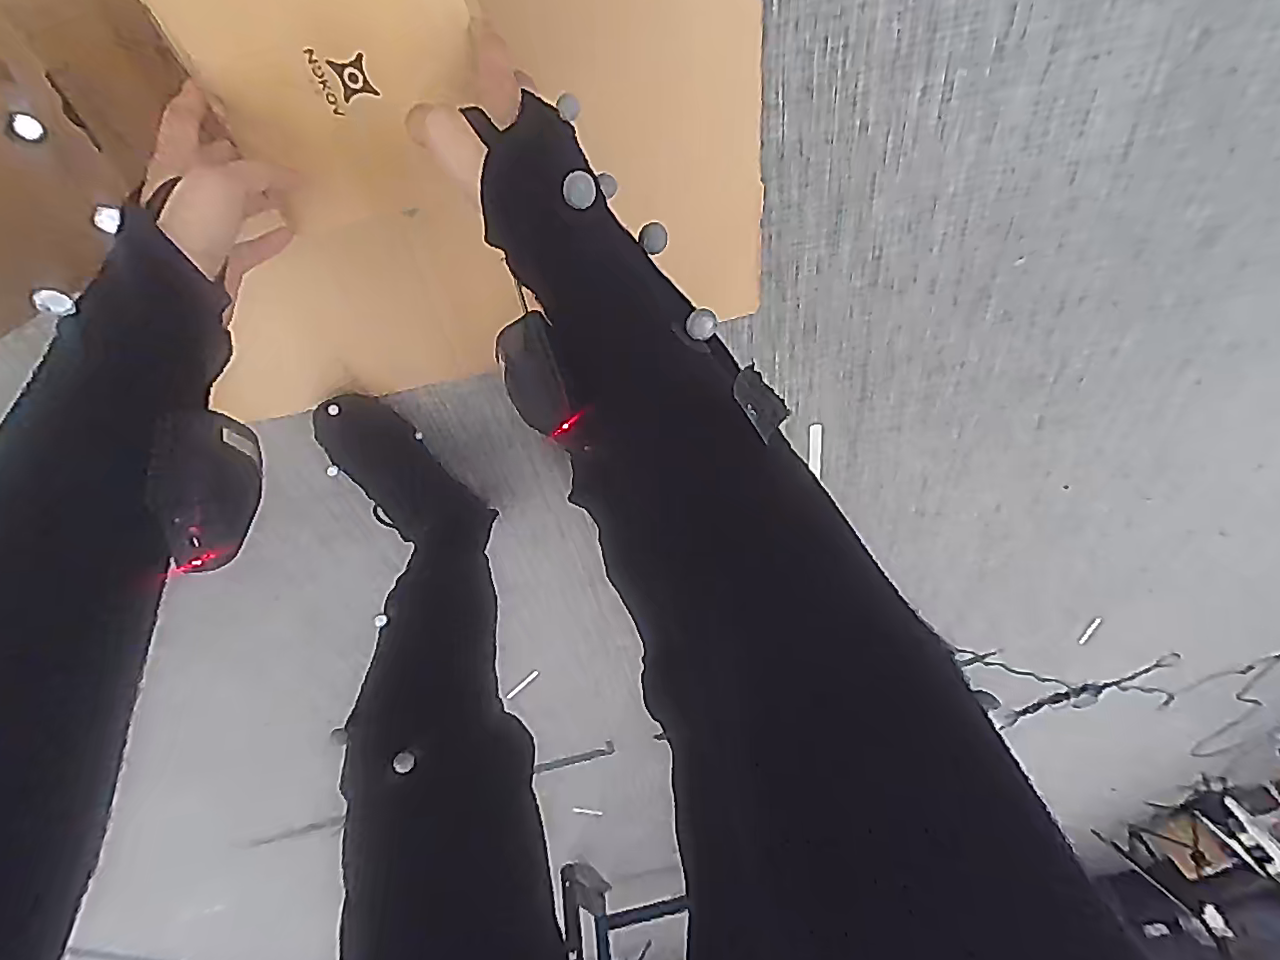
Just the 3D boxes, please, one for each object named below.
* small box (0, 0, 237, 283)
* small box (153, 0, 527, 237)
[{"bbox_3d":[-0.450,-0.269,0.408,0.179,0.176,0.168,-12,132,-1],"label":"small box"},{"bbox_3d":[-0.195,-0.313,0.397,0.179,0.176,0.168,-13,140,0],"label":"small box"}]
